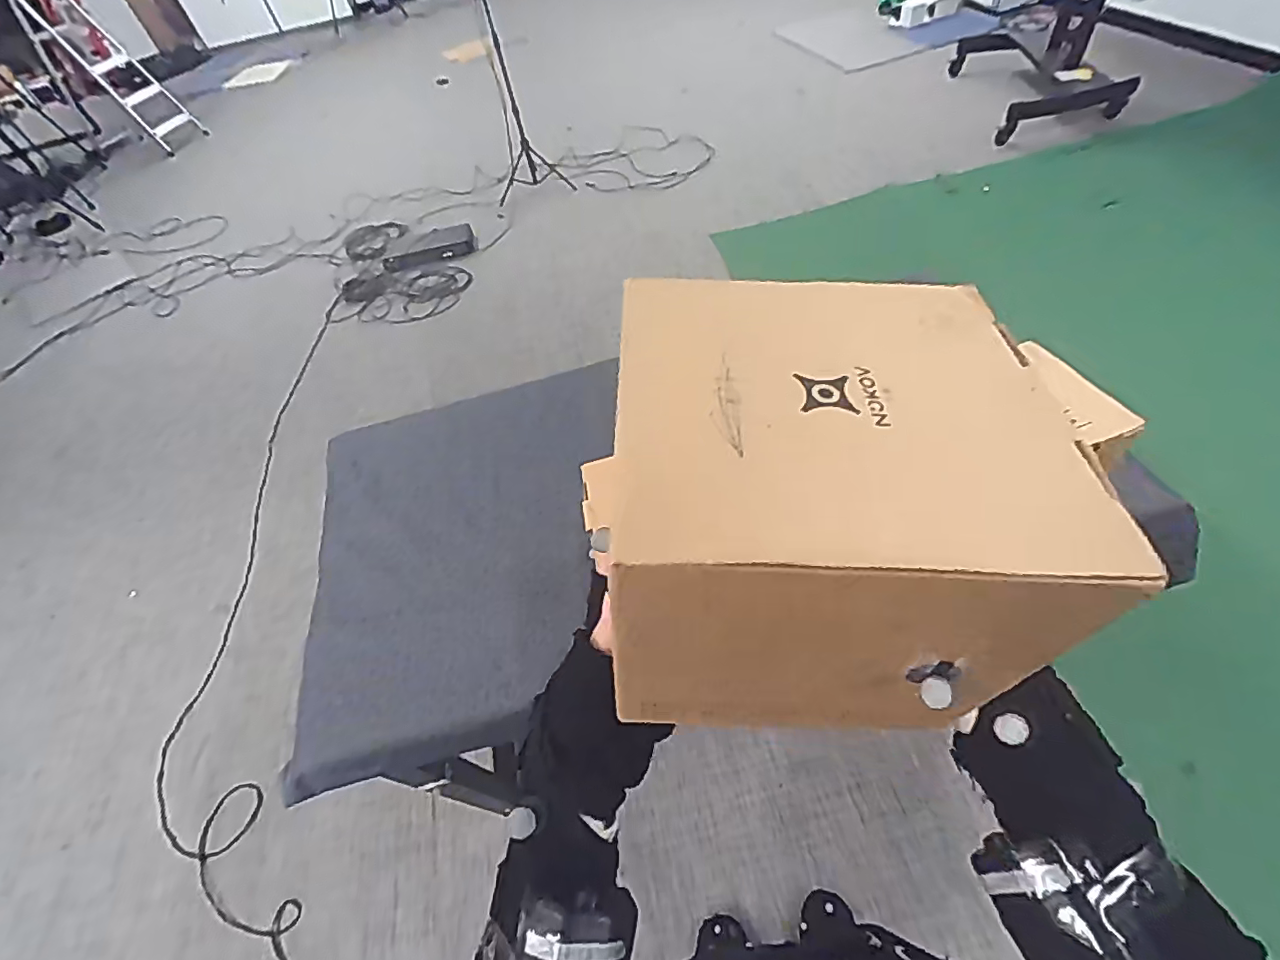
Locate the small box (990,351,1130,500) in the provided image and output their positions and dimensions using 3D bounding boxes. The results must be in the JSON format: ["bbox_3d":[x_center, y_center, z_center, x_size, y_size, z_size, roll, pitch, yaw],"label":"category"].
[{"bbox_3d":[0.478,-0.037,0.730,0.168,0.176,0.179,-19,50,-4],"label":"small box"}]

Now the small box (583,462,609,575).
[{"bbox_3d":[0.034,0.077,0.722,0.179,0.176,0.168,-13,51,0],"label":"small box"}]

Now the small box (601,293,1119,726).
[{"bbox_3d":[0.074,0.021,0.290,0.179,0.176,0.168,0,50,1],"label":"small box"}]
